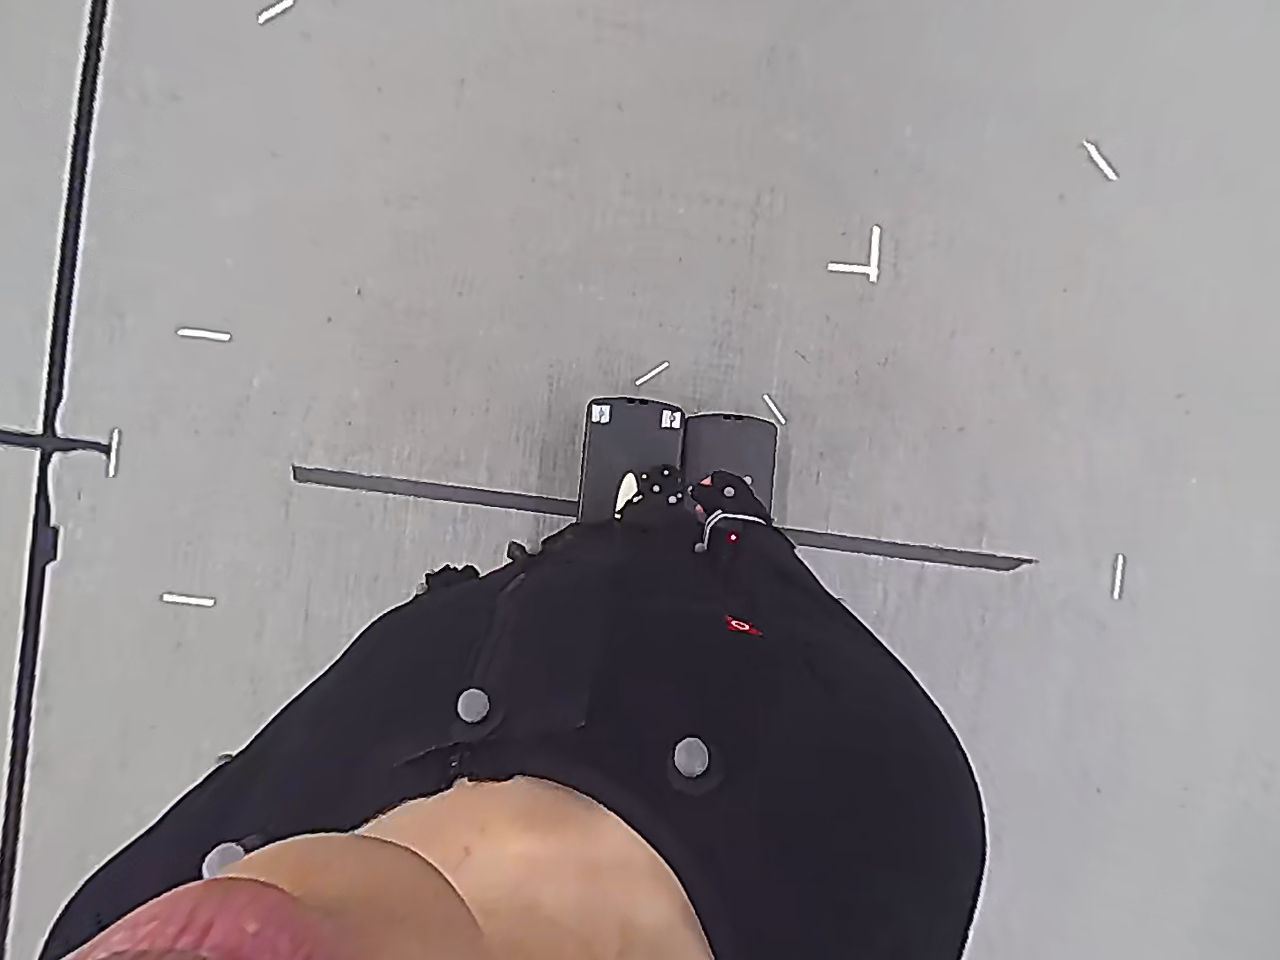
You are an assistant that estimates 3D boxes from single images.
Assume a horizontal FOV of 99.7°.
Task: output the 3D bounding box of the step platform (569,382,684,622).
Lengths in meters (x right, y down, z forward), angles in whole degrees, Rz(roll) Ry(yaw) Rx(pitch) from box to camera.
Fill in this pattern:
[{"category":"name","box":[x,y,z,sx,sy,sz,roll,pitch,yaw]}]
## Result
[{"category":"step platform","box":[-0.039,0.061,1.578,0.286,0.204,0.684,5,89,-2]}]
